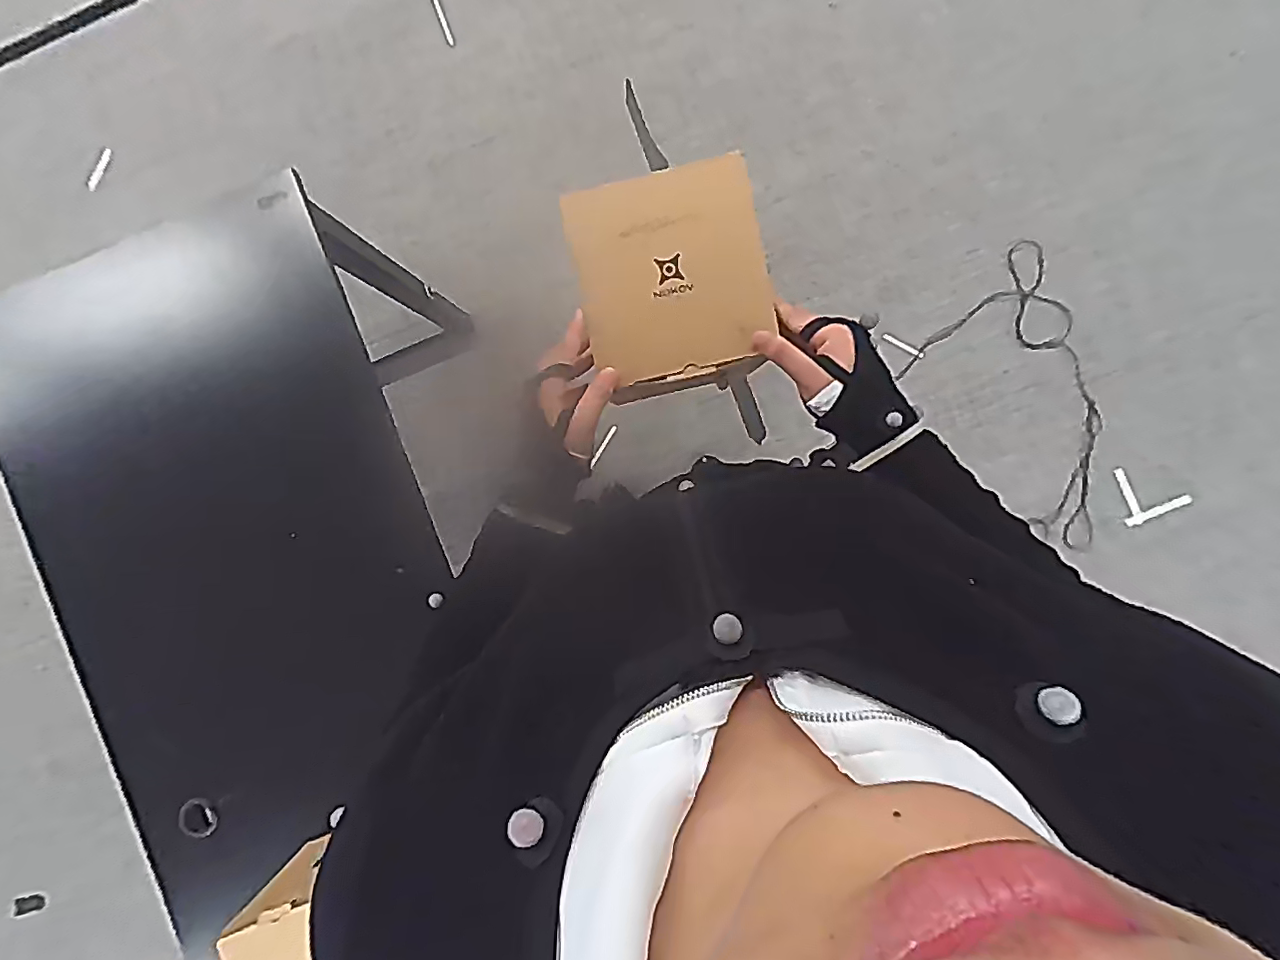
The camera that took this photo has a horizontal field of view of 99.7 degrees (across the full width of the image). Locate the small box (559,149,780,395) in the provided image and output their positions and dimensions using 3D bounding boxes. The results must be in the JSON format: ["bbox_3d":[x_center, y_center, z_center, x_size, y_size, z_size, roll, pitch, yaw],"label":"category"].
[{"bbox_3d":[0.029,-0.188,0.549,0.168,0.176,0.179,-13,93,2],"label":"small box"}]

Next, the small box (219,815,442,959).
[{"bbox_3d":[-0.400,0.592,0.729,0.168,0.176,0.179,-23,90,4],"label":"small box"}]
